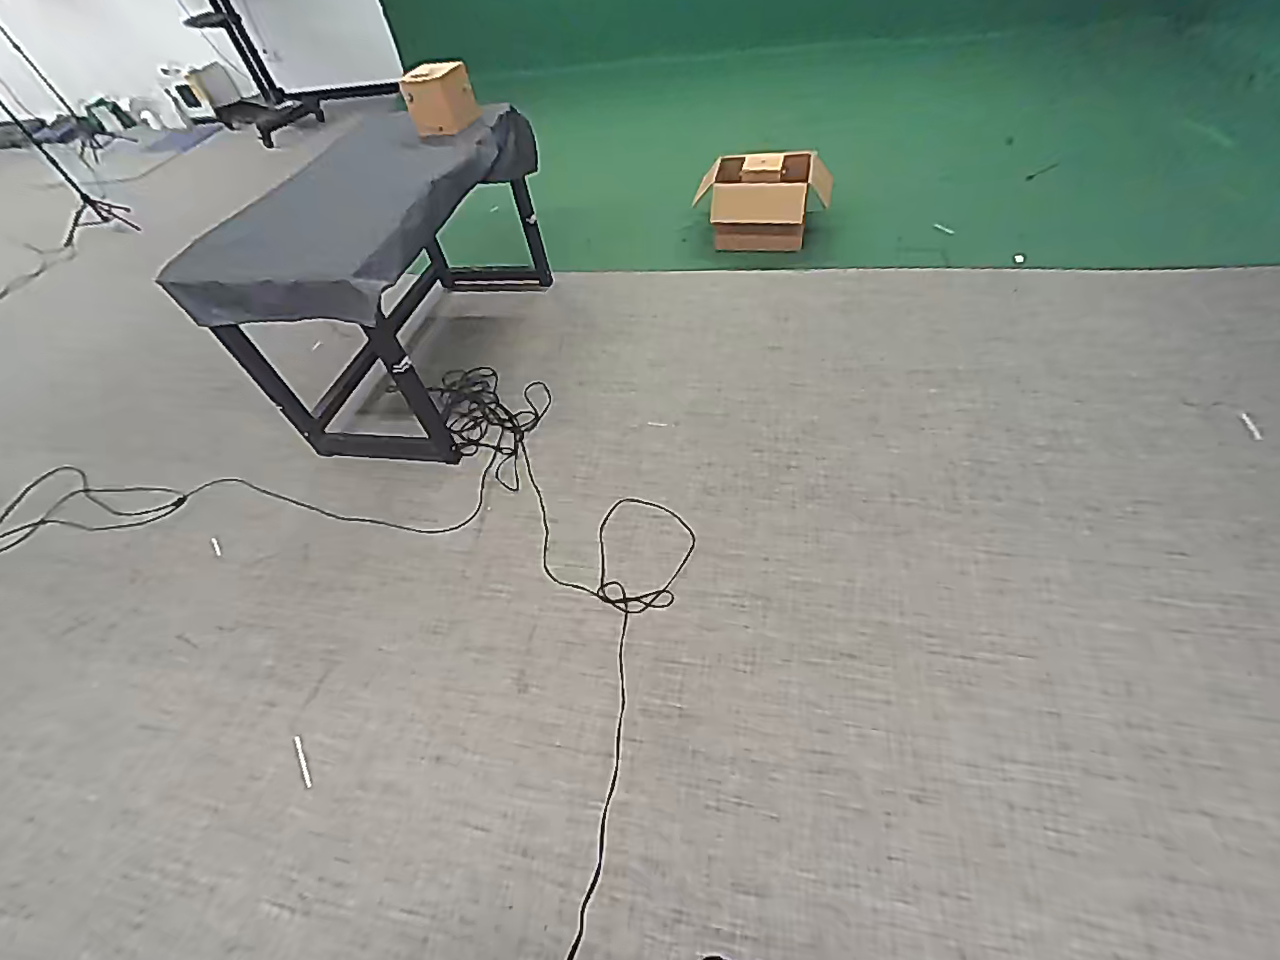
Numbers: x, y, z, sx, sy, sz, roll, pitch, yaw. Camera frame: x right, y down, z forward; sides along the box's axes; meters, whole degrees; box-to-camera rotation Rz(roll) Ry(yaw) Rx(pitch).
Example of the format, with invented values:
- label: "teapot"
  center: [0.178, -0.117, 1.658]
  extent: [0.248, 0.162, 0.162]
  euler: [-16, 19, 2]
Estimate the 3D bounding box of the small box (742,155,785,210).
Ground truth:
- label: "small box"
  center: [0.549, -1.328, 2.413]
  extent: [0.168, 0.176, 0.179]
  euler: [8, 52, 14]
